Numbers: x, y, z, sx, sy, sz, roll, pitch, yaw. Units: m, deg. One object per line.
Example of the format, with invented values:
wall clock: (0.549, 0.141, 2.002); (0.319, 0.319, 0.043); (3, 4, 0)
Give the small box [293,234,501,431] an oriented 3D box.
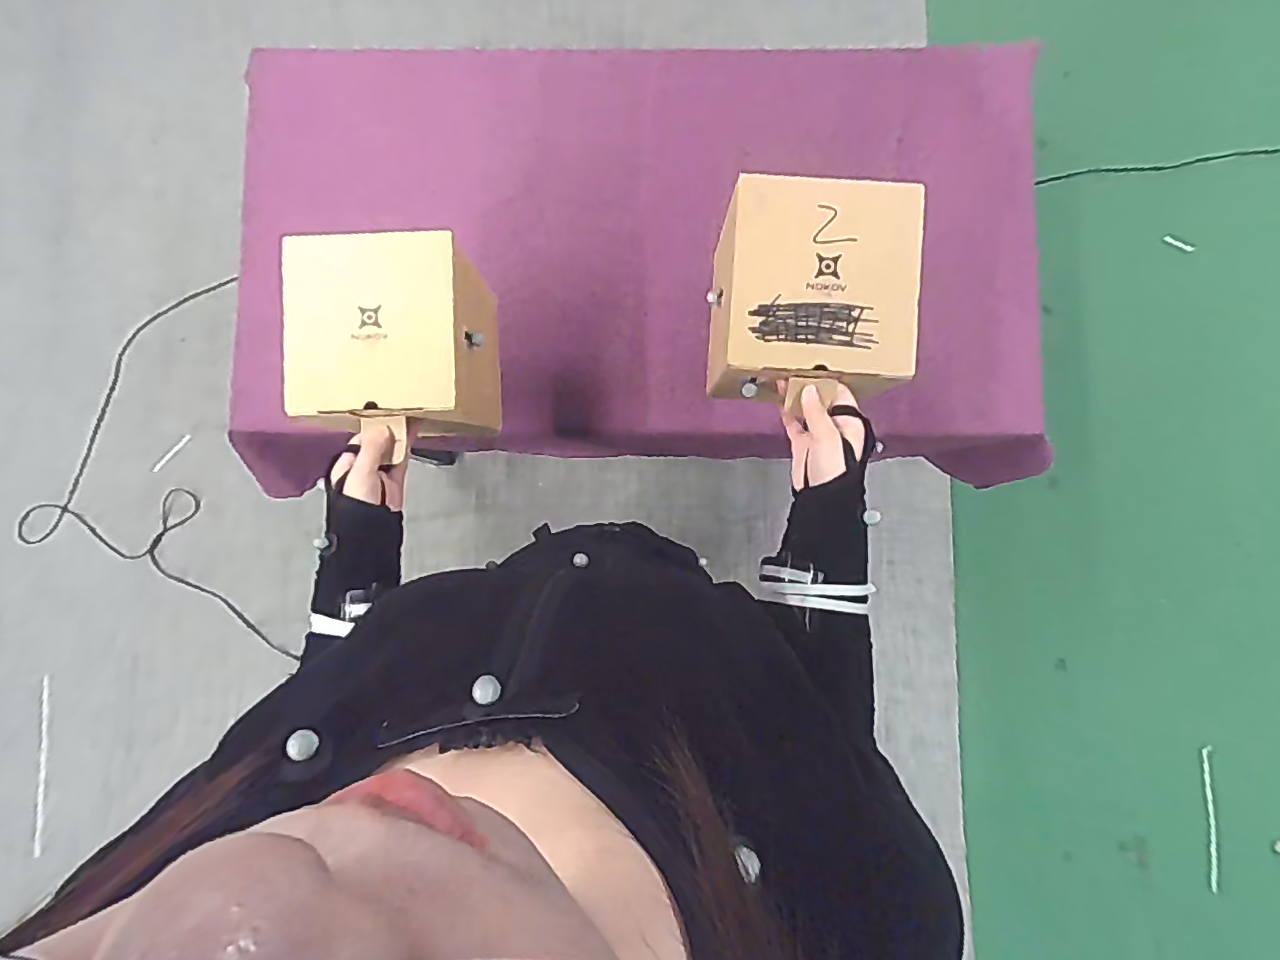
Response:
small box: (-0.260, -0.154, 0.614); (0.168, 0.176, 0.179); (-2, 89, 0)
